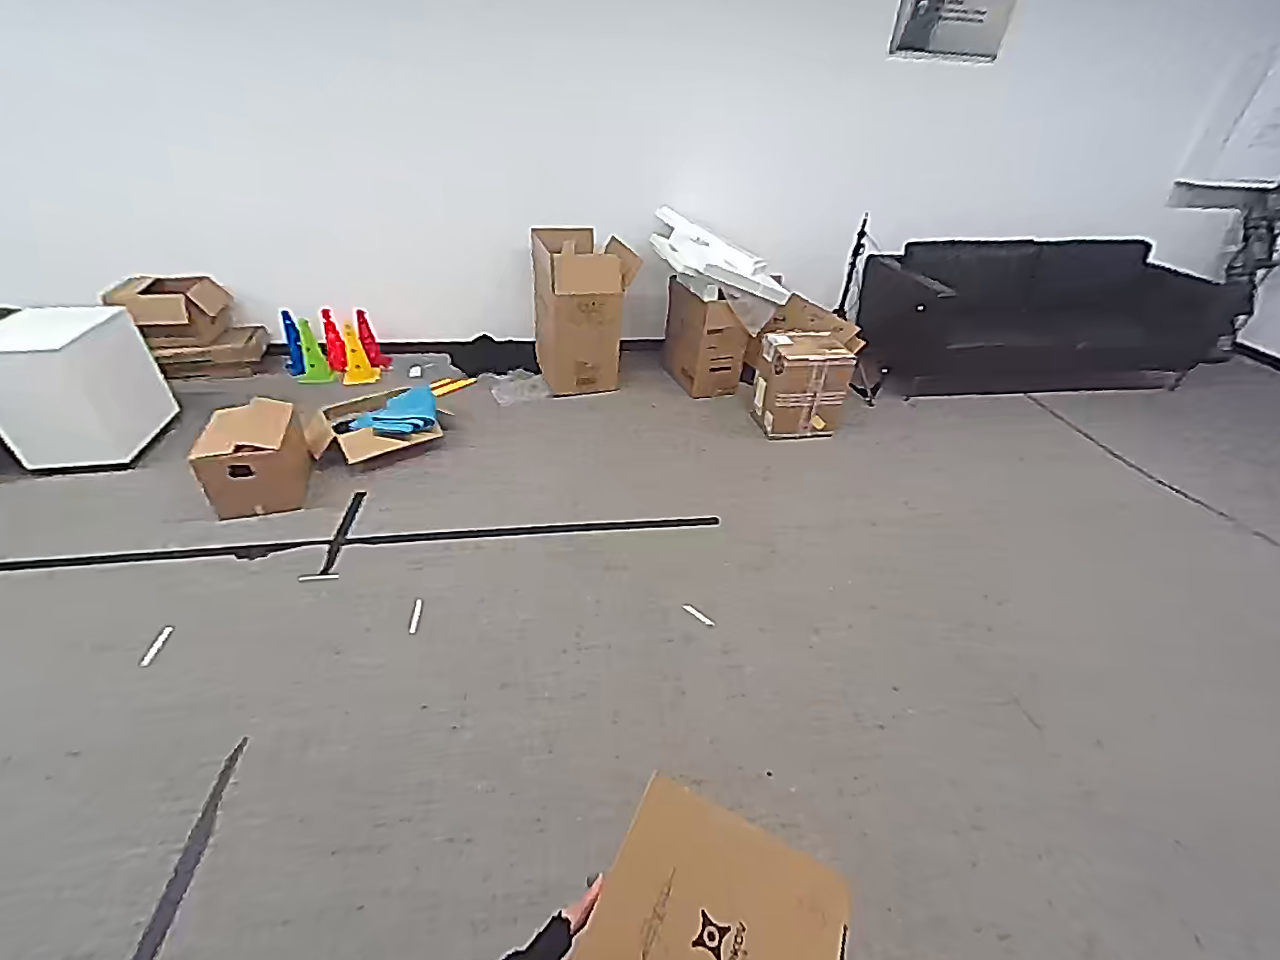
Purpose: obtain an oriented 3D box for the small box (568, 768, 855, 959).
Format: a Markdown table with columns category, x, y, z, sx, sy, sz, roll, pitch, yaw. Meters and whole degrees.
| category | x | y | z | sx | sy | sz | roll | pitch | yaw |
| --- | --- | --- | --- | --- | --- | --- | --- | --- | --- |
| small box | 0.044 | 0.375 | 0.431 | 0.179 | 0.176 | 0.168 | 21 | 43 | 14 |
